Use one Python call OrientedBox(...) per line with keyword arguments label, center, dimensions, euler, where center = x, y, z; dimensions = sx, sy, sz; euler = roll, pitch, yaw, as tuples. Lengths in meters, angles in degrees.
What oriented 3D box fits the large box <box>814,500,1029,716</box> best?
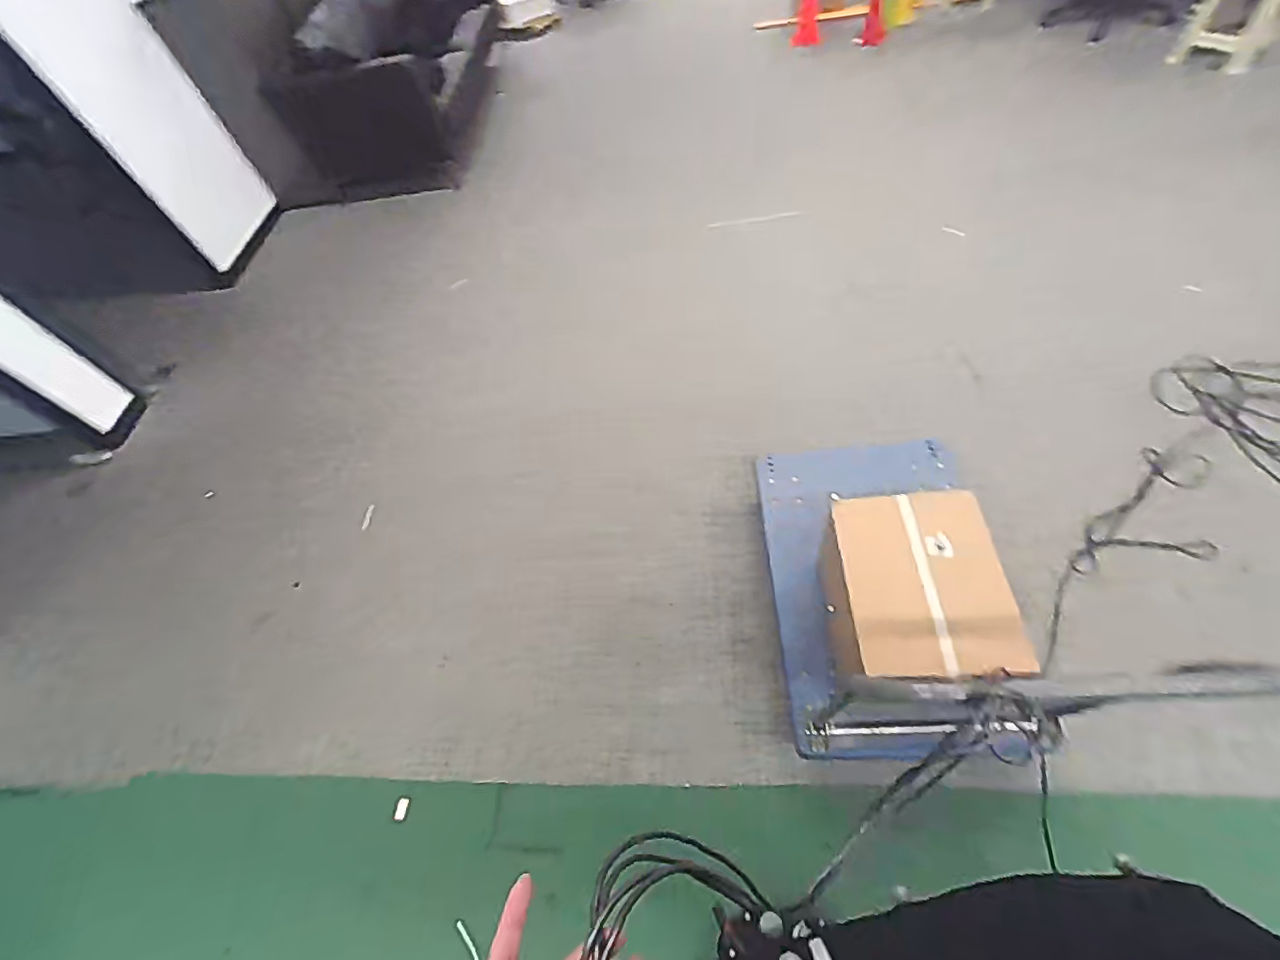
OrientedBox(label="large box", center=(0.608, 0.305, 1.264), dimensions=(0.320, 0.320, 0.408), euler=(-4, 54, 8))
